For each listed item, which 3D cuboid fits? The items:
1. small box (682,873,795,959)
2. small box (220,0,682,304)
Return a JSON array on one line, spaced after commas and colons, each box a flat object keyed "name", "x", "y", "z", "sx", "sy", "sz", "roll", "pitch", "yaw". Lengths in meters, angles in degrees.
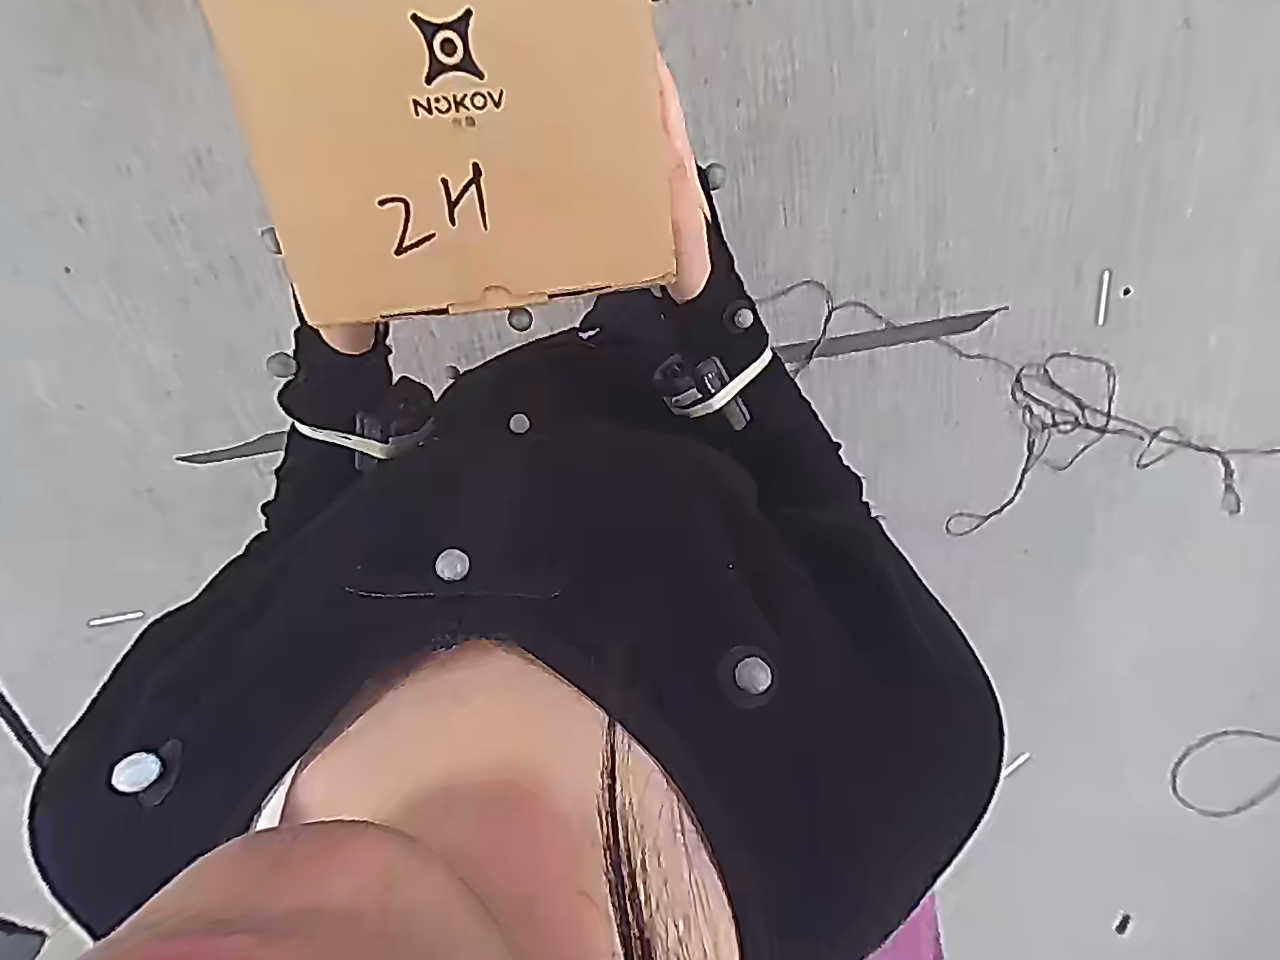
[{"name": "small box", "x": 0.175, "y": 0.832, "z": 0.952, "sx": 0.168, "sy": 0.176, "sz": 0.179, "roll": -11, "pitch": 110, "yaw": 0}, {"name": "small box", "x": -0.081, "y": -0.193, "z": 0.285, "sx": 0.168, "sy": 0.176, "sz": 0.179, "roll": -9, "pitch": 109, "yaw": -4}]
